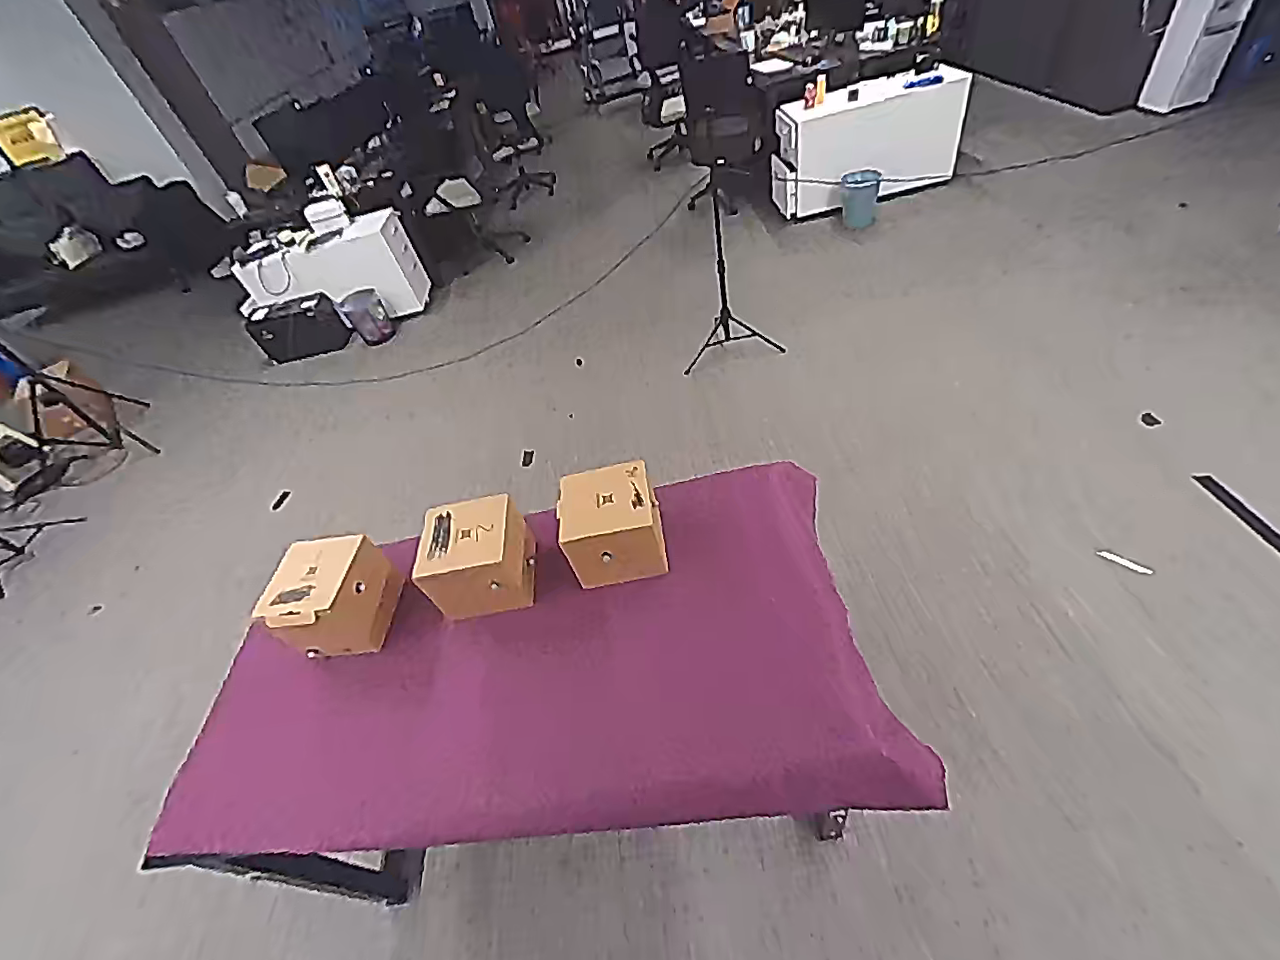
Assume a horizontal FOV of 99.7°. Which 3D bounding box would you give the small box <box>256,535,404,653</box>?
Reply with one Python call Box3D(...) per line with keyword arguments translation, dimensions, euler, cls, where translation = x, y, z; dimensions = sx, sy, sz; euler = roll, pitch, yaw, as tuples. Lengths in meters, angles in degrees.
Box3D(translation=(-0.608, 0.237, 1.090), dimensions=(0.168, 0.176, 0.179), euler=(-7, 46, 8), cls="small box")
